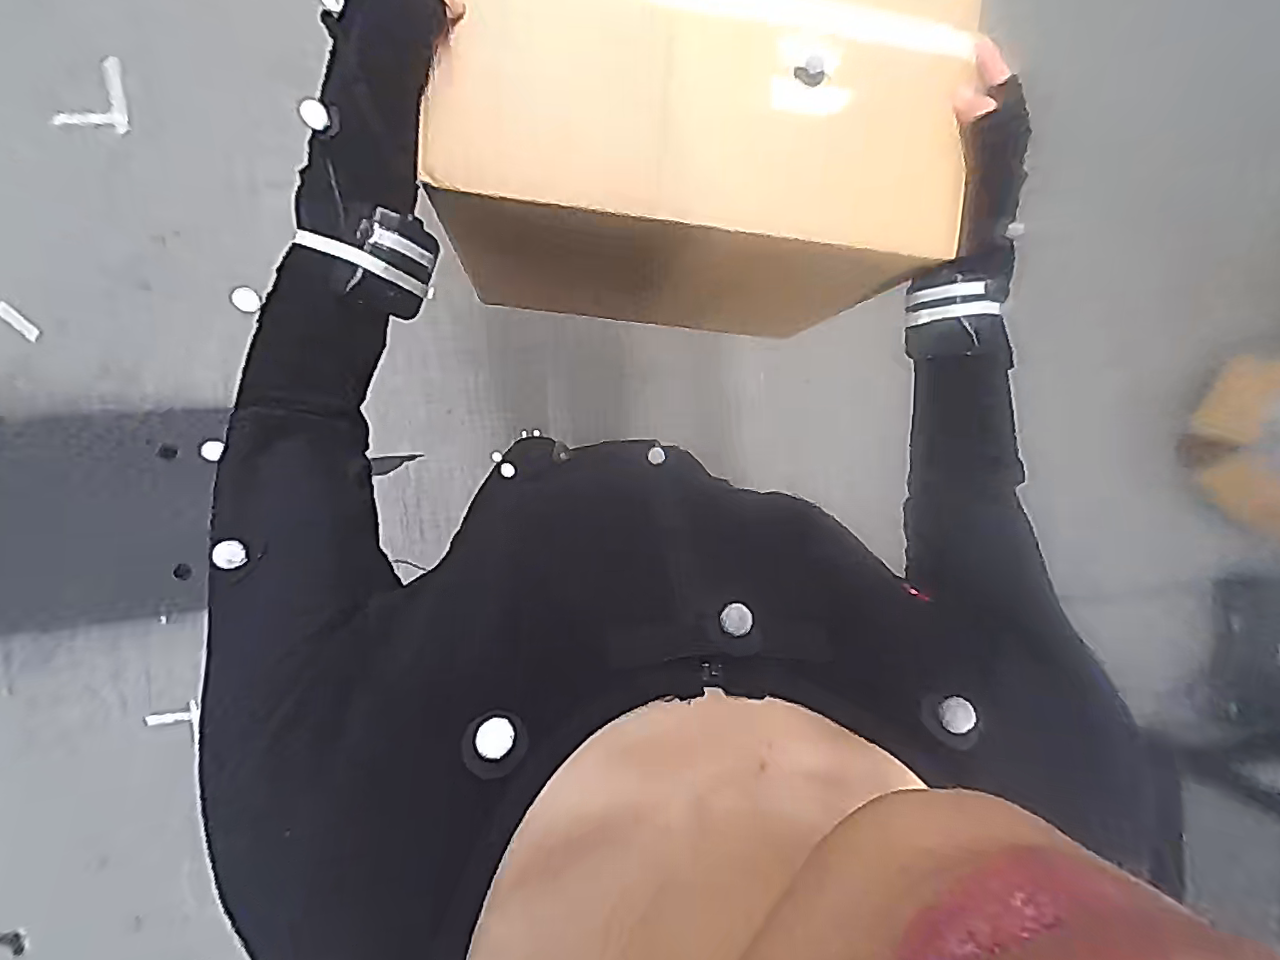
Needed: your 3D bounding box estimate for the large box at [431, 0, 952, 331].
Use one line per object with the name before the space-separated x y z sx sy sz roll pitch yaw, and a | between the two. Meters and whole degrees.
large box | 0.027 -0.353 0.553 0.408 0.320 0.320 3 93 -10
